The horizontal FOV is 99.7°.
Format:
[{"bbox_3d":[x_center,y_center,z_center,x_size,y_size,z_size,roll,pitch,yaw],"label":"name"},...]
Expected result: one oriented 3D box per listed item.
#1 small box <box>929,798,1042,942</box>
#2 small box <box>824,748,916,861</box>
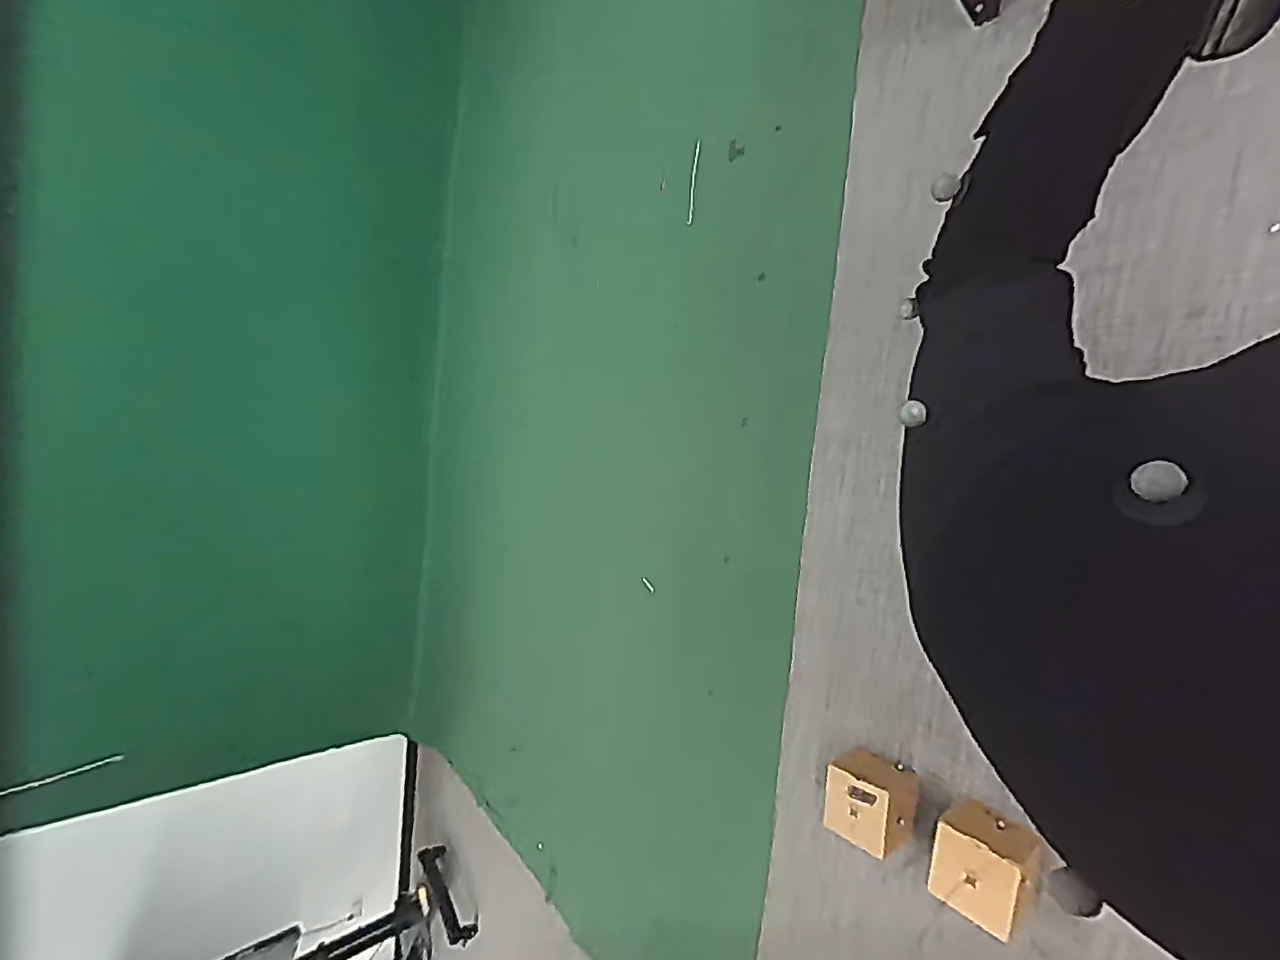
[{"bbox_3d":[0.790,0.877,1.235,0.168,0.176,0.179,12,96,49],"label":"small box"},{"bbox_3d":[0.615,0.848,1.437,0.168,0.176,0.179,7,93,49],"label":"small box"}]
